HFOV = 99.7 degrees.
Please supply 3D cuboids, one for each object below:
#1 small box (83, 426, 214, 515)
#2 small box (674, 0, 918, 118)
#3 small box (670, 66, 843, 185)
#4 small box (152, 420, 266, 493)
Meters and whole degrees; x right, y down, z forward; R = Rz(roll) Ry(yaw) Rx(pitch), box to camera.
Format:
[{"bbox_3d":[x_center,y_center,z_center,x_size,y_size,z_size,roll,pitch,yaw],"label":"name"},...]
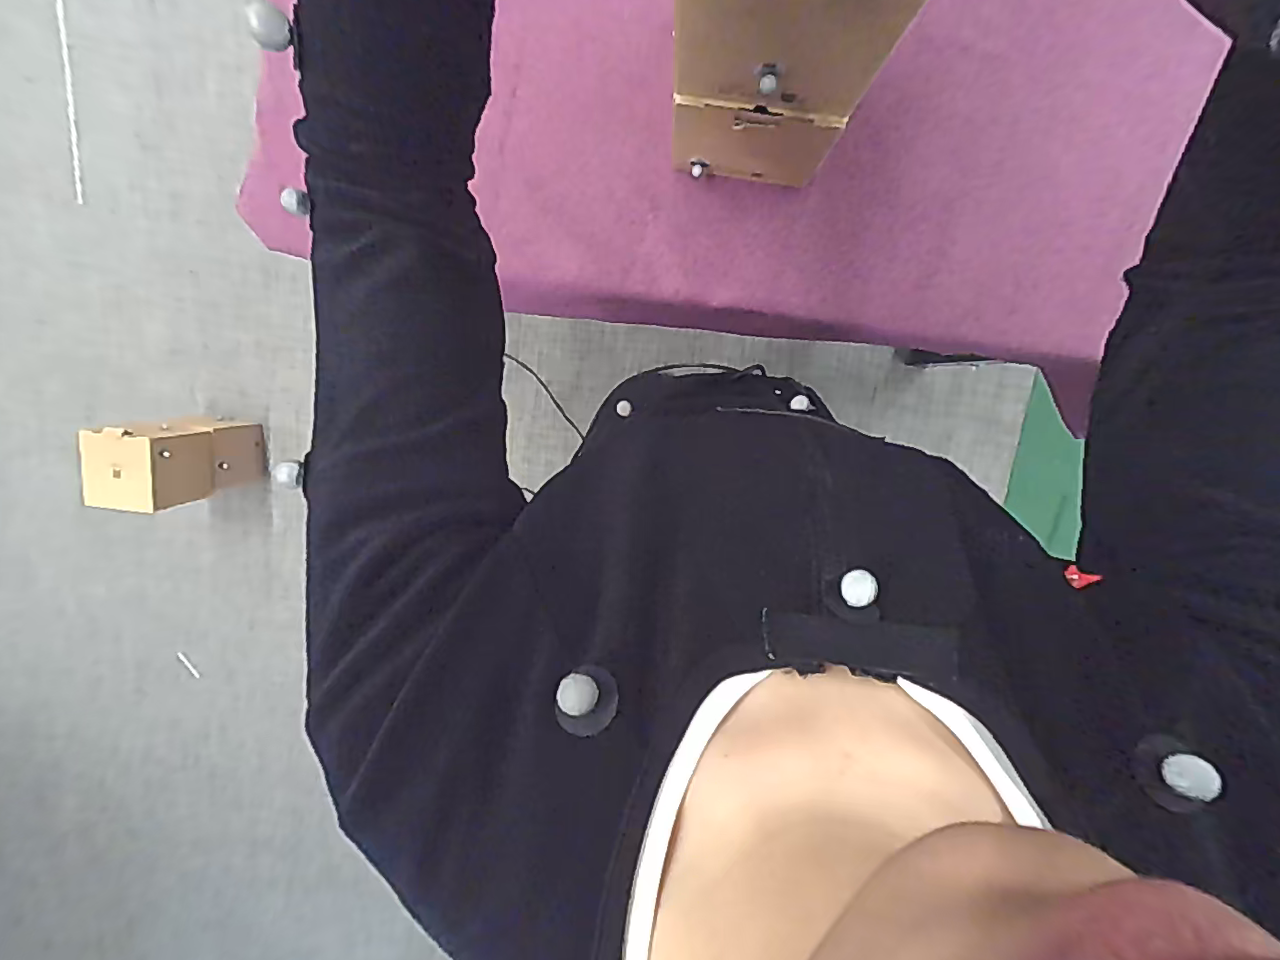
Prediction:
[{"bbox_3d":[-1.161,-0.028,1.292,0.168,0.176,0.179,6,100,2],"label":"small box"},{"bbox_3d":[0.119,-0.421,0.413,0.168,0.176,0.179,9,101,2],"label":"small box"},{"bbox_3d":[0.128,-0.441,0.576,0.168,0.176,0.179,9,100,1],"label":"small box"},{"bbox_3d":[-1.149,-0.068,1.450,0.179,0.176,0.168,6,100,3],"label":"small box"}]
